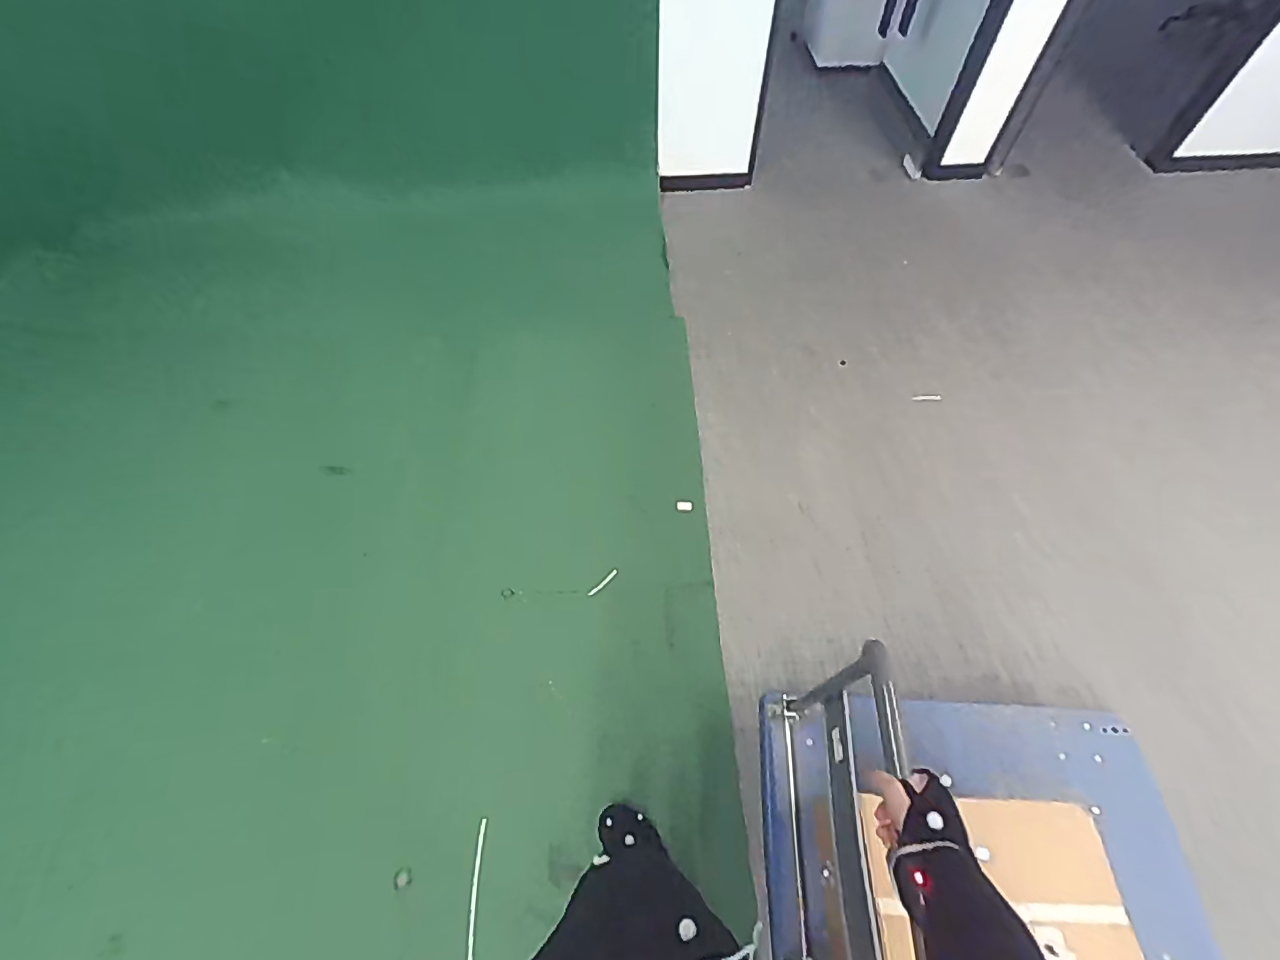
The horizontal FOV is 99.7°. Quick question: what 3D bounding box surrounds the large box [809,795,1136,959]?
[{"bbox_3d":[0.570,0.771,0.996,0.408,0.320,0.320,2,59,1],"label":"large box"}]
